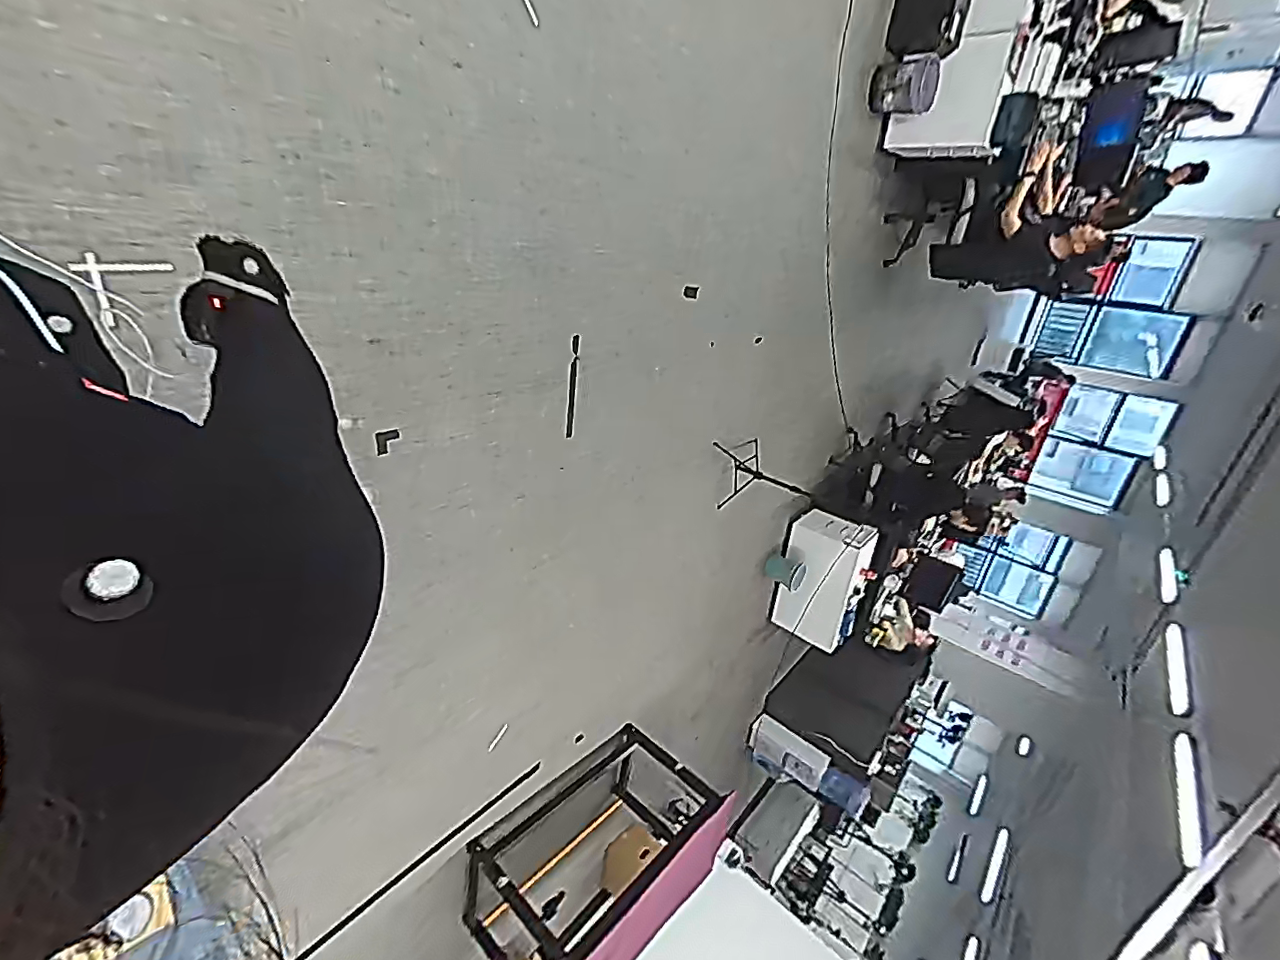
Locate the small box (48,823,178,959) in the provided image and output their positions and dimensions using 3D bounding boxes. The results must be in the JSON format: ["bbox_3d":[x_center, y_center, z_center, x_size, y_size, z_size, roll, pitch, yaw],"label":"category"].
[{"bbox_3d":[-1.156,0.914,1.186,0.179,0.176,0.168,-16,123,-48],"label":"small box"}]
